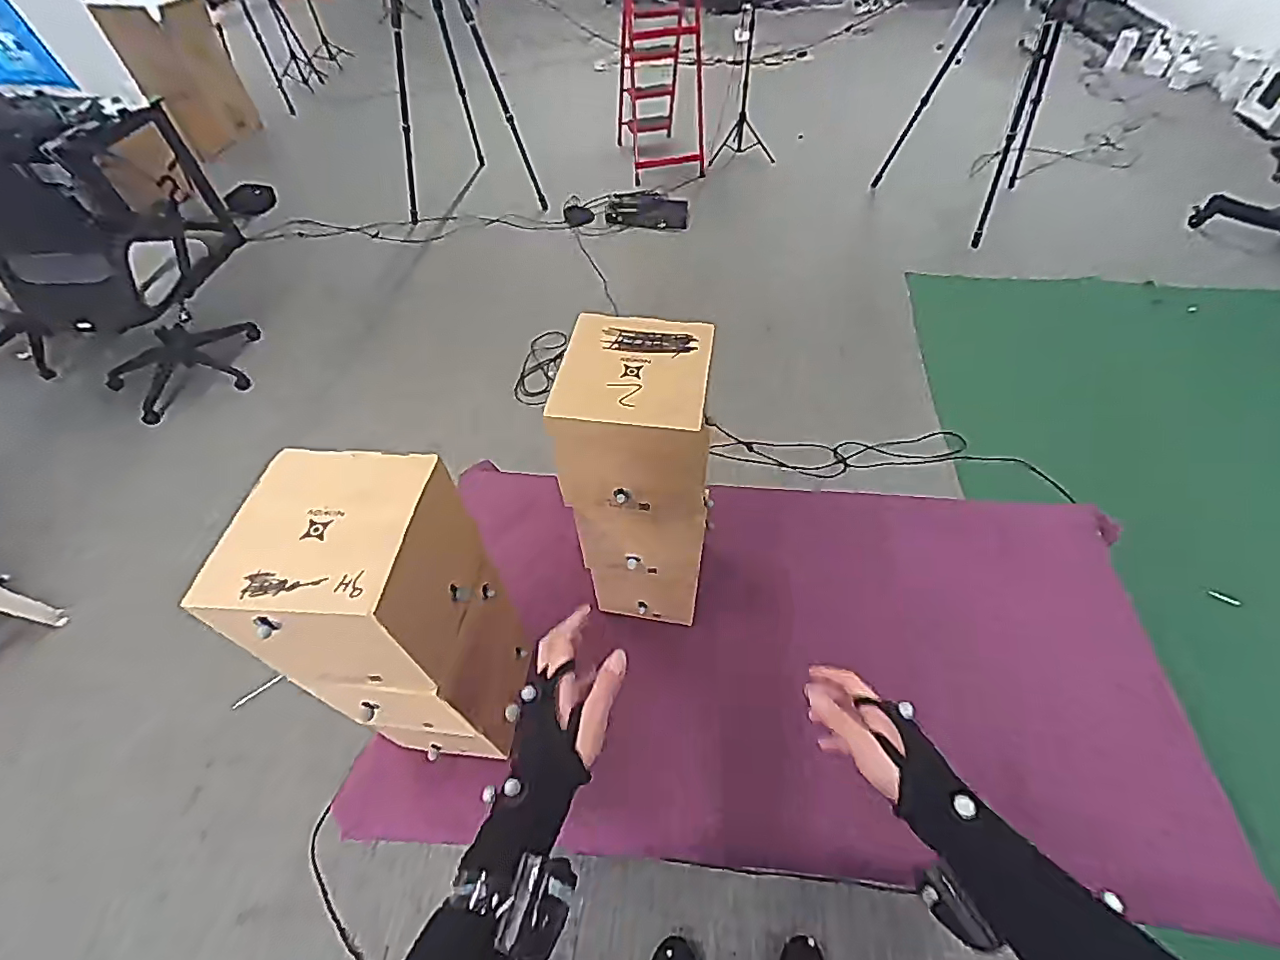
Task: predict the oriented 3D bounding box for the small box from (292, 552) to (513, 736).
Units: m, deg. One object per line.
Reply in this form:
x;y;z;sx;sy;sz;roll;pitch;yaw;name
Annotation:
-0.271;0.201;0.671;0.168;0.176;0.179;4;50;7;small box

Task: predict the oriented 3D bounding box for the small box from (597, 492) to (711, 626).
0.024;0.125;0.922;0.168;0.176;0.179;8;53;9;small box

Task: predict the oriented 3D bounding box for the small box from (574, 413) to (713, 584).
0.011;0.028;0.790;0.168;0.176;0.179;6;54;8;small box

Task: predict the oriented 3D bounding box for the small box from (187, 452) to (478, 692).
-0.279;0.093;0.547;0.168;0.176;0.179;2;50;5;small box

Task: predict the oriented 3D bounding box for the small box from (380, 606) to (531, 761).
-0.269;0.296;0.802;0.168;0.176;0.179;3;52;6;small box
